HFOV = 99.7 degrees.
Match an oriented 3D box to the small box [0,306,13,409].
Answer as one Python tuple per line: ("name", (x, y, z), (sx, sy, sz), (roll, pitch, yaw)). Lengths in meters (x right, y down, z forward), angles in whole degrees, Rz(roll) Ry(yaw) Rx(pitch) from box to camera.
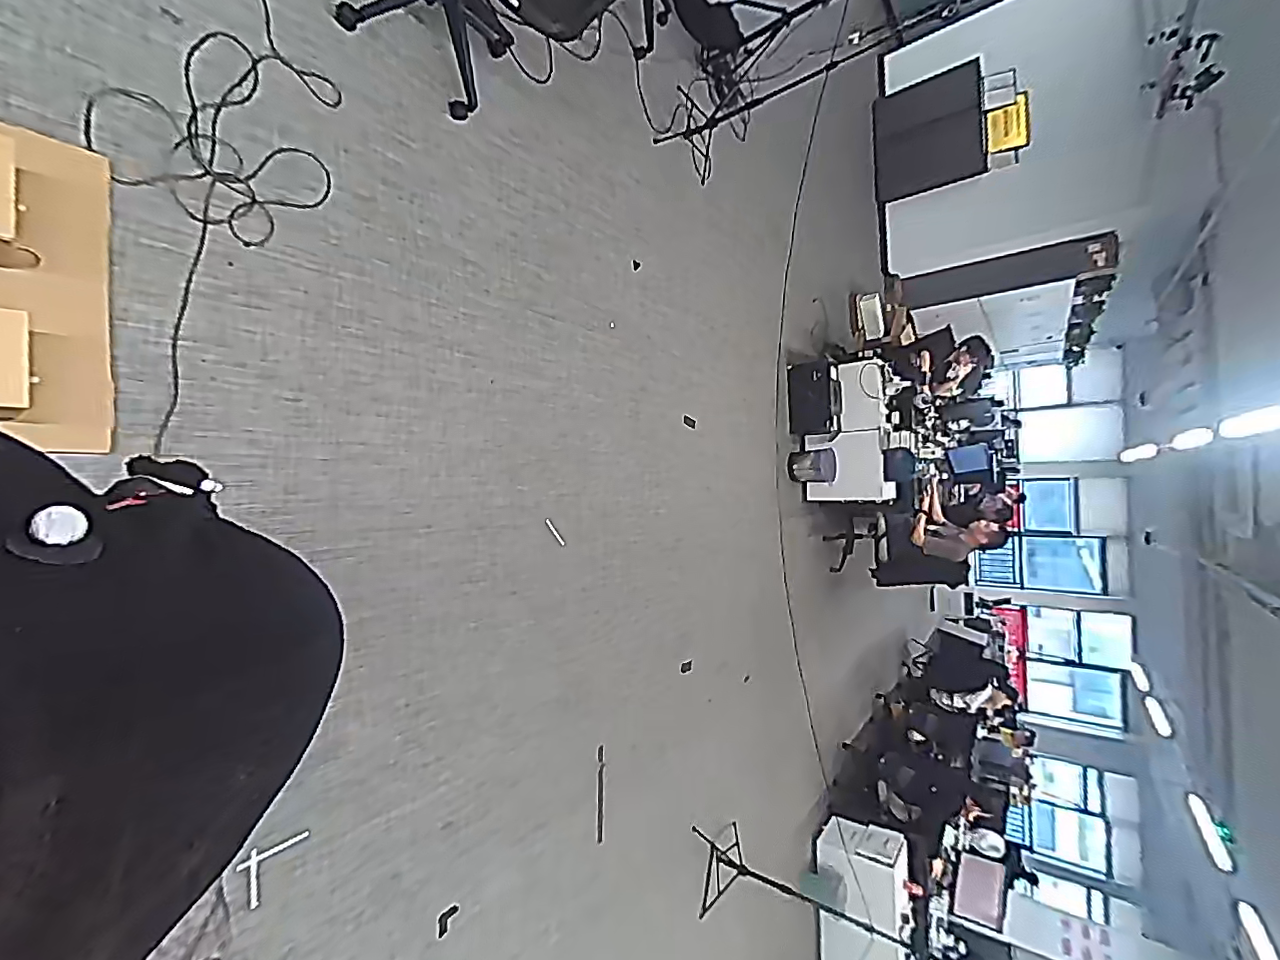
("small box", (-1.154, -0.204, 0.873), (0.179, 0.176, 0.168), (0, 89, -51))
